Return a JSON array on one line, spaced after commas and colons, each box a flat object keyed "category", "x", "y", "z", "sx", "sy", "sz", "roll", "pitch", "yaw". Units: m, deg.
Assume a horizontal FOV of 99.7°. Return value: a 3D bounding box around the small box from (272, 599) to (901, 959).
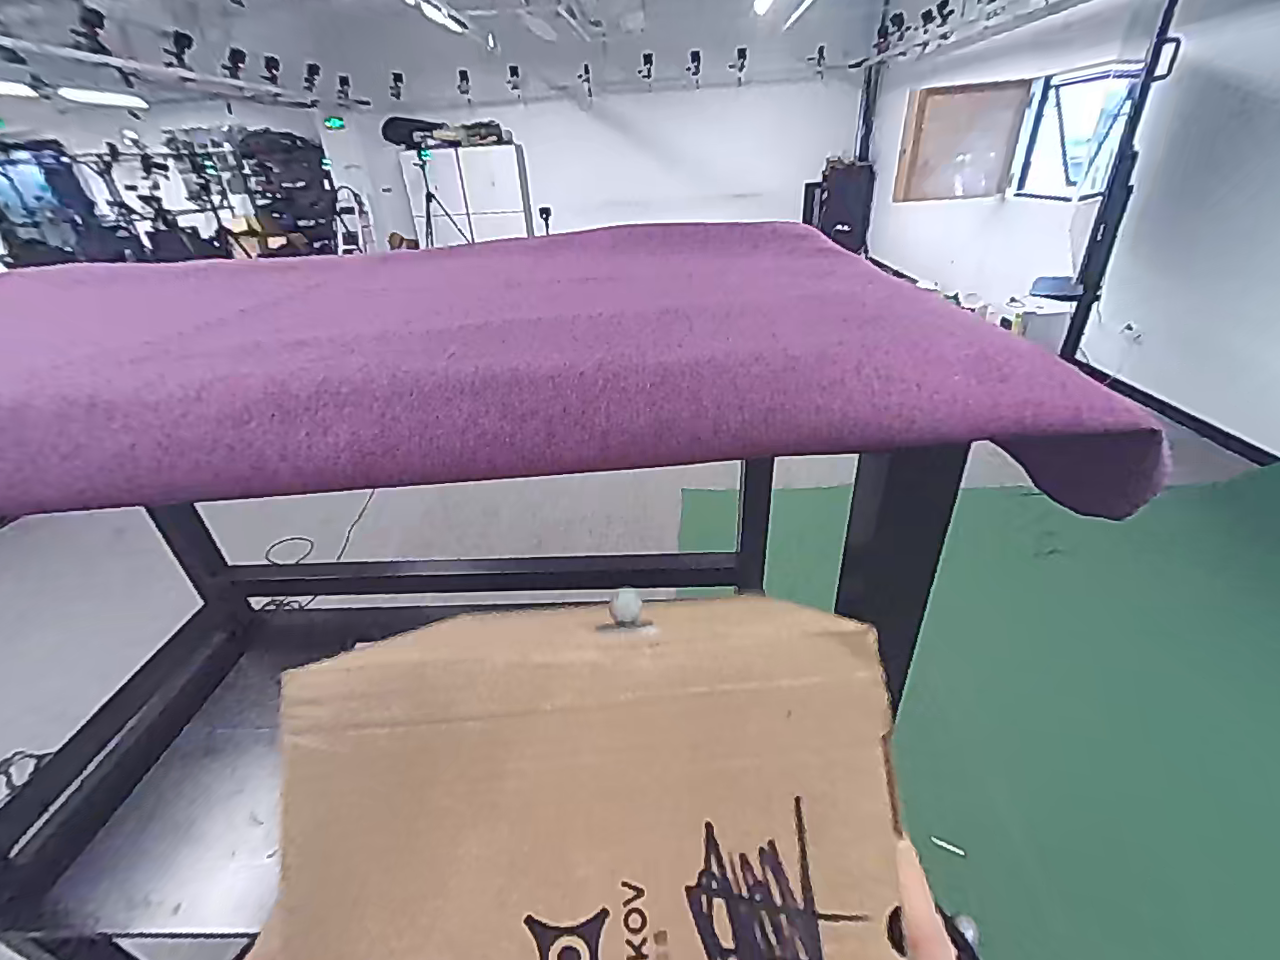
[{"category": "small box", "x": -0.014, "y": 0.140, "z": 0.228, "sx": 0.179, "sy": 0.168, "sz": 0.176, "roll": -3, "pitch": -11, "yaw": 0}]
